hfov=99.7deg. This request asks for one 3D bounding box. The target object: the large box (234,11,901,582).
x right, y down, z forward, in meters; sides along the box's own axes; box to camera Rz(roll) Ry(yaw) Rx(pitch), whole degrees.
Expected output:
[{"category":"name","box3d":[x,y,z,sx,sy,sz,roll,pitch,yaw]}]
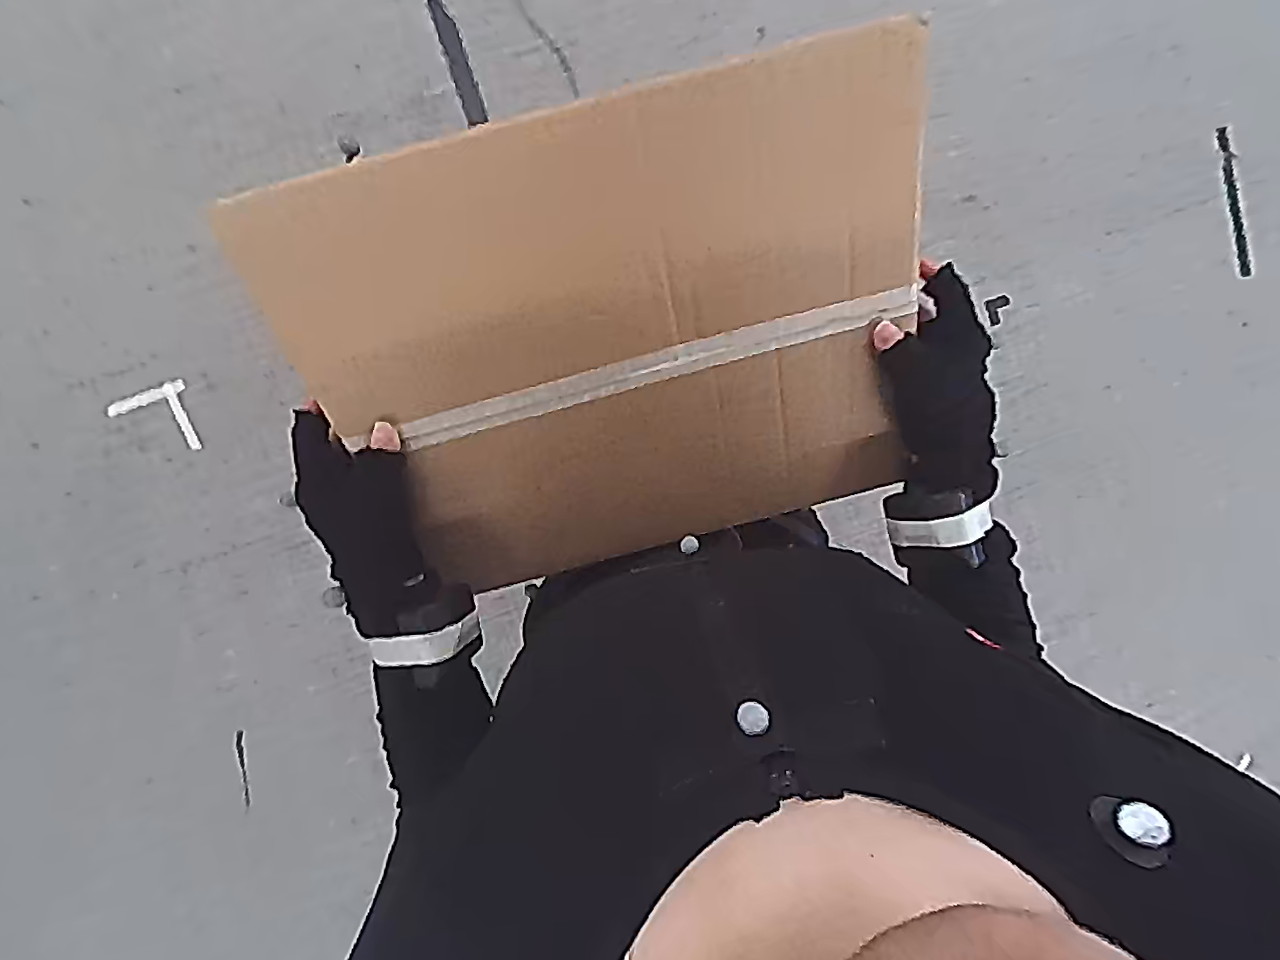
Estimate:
[{"category":"large box","box3d":[-0.032,-0.164,0.510,0.408,0.320,0.320,-15,124,1]}]
